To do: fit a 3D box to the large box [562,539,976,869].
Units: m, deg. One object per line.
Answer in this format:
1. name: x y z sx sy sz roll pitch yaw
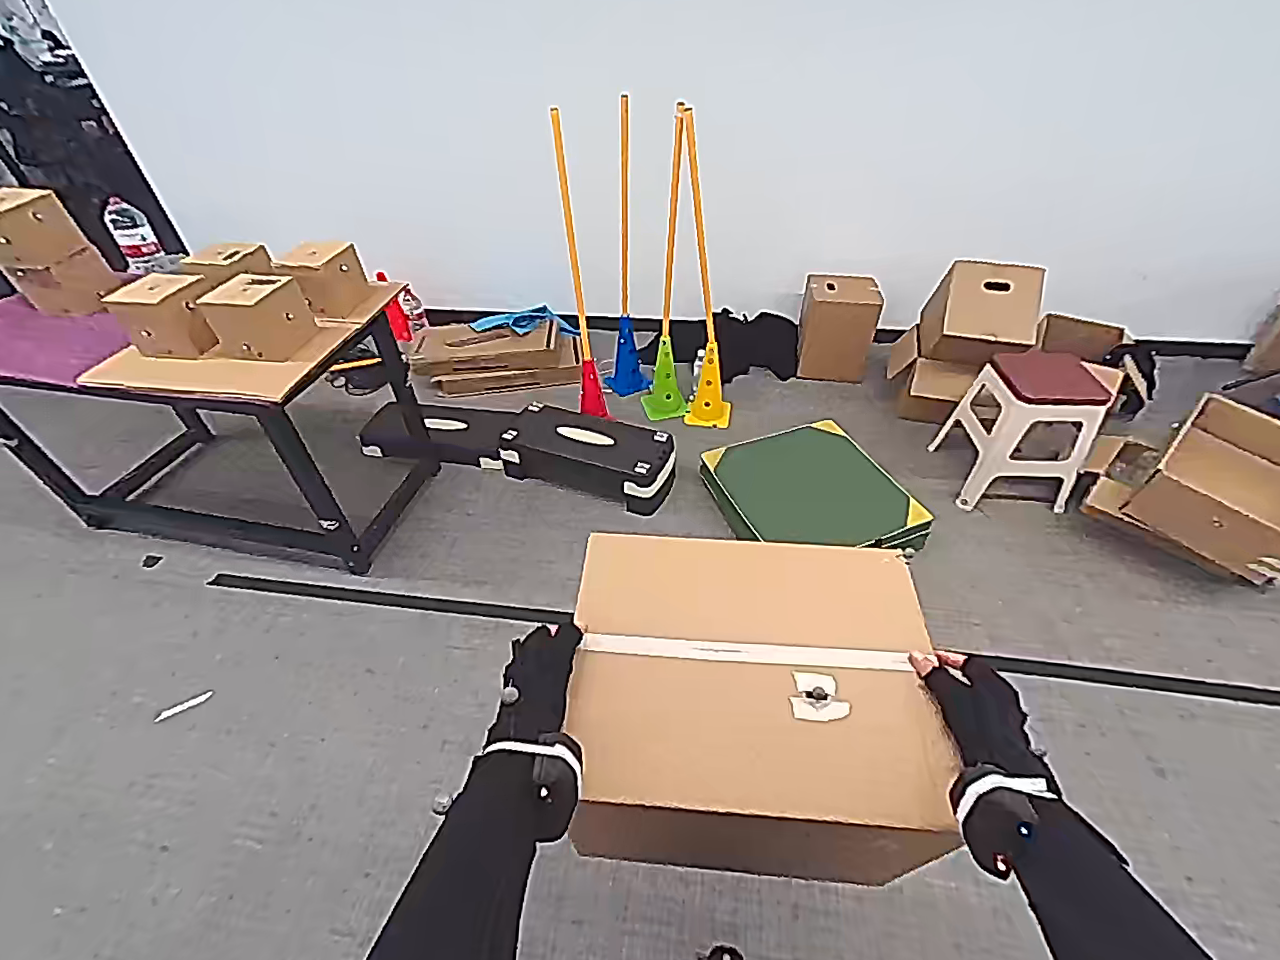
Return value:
1. large box: 0.129 0.299 0.724 0.408 0.320 0.320 3 47 3
